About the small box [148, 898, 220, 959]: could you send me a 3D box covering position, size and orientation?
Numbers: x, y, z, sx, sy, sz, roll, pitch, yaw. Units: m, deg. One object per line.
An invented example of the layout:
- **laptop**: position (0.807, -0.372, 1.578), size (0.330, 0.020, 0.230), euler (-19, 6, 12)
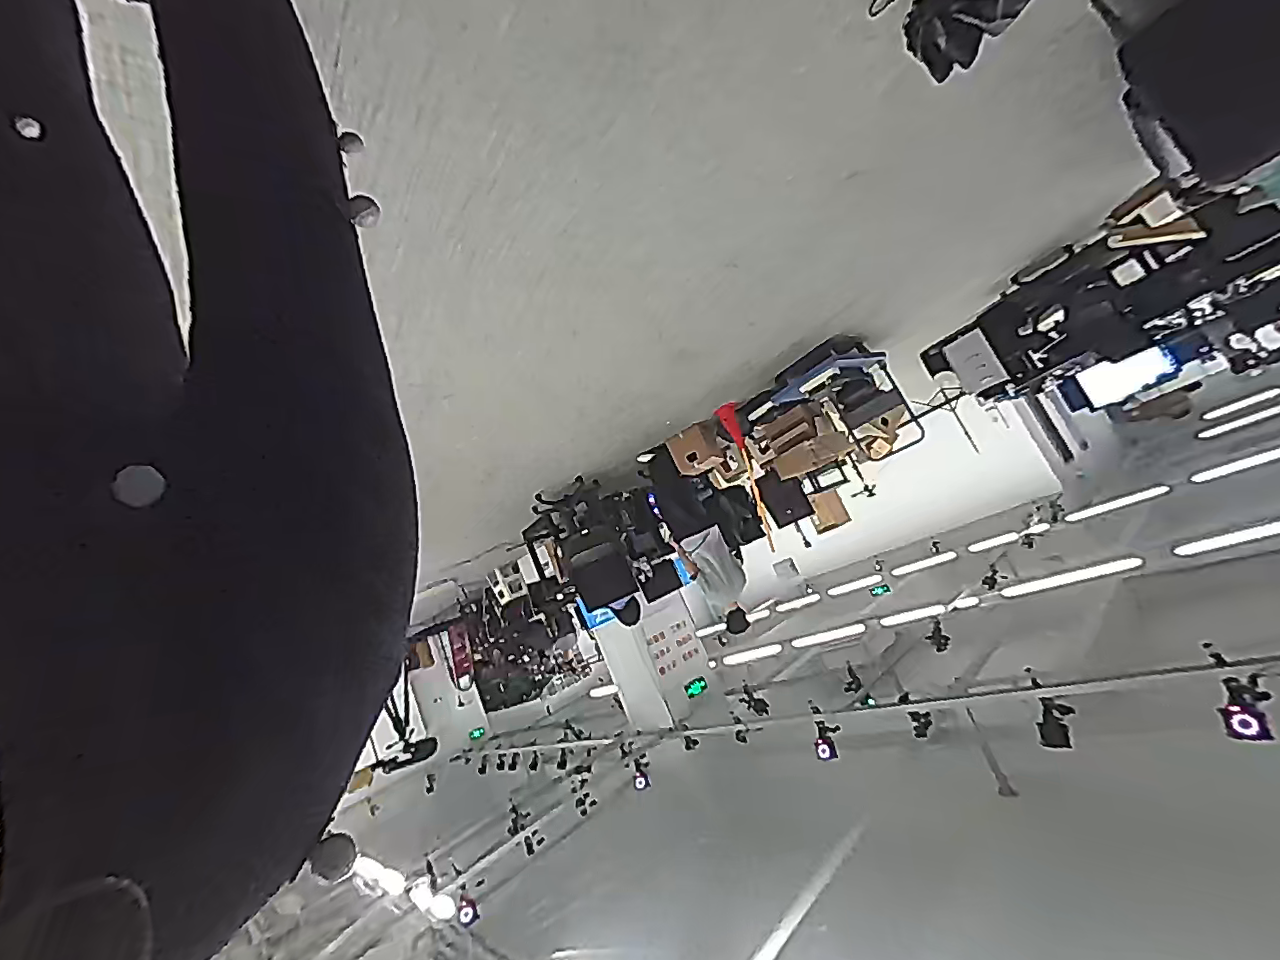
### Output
- **small box**: position (-1.615, 1.628, 1.918), size (0.168, 0.176, 0.179), euler (-16, 167, -42)
